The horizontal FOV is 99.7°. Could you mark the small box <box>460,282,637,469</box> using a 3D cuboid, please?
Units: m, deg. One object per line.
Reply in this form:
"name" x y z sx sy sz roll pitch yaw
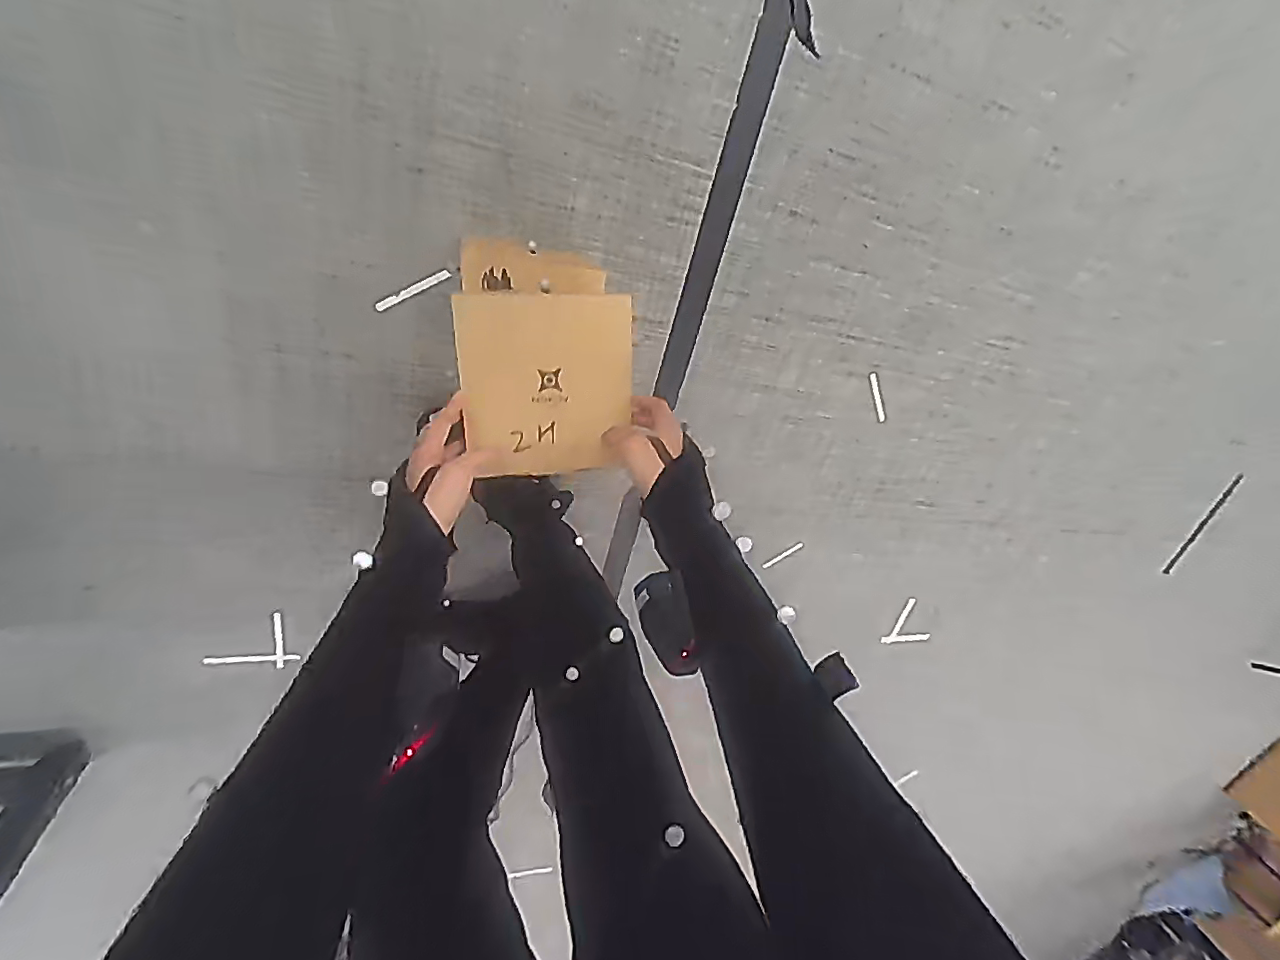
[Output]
"small box" -0.103 -0.122 0.595 0.168 0.176 0.179 -3 111 -12
